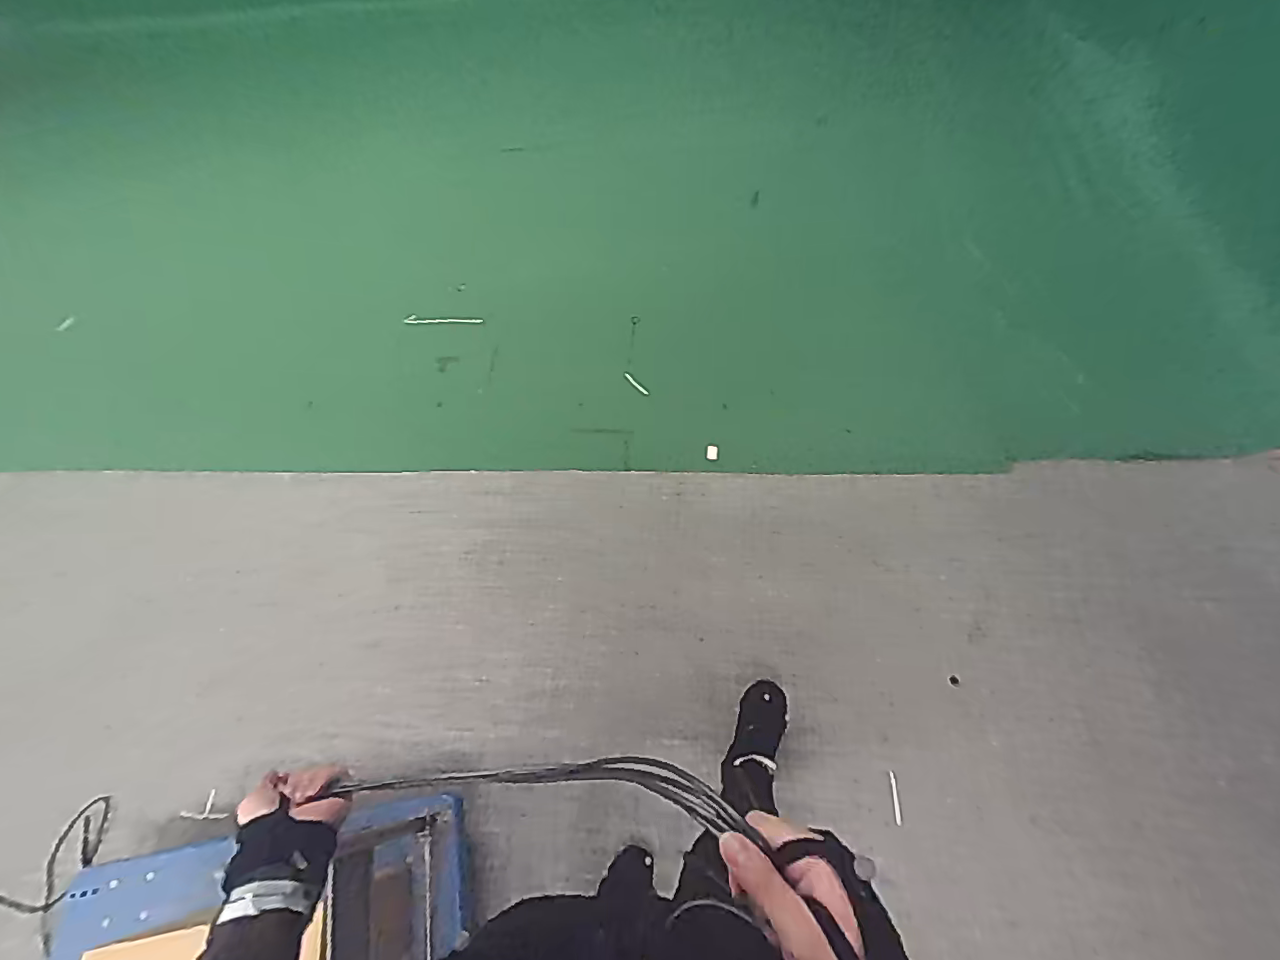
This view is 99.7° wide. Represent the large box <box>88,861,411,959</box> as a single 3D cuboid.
[{"bbox_3d":[-0.665,0.924,0.954,0.408,0.320,0.320,-12,63,0],"label":"large box"}]
